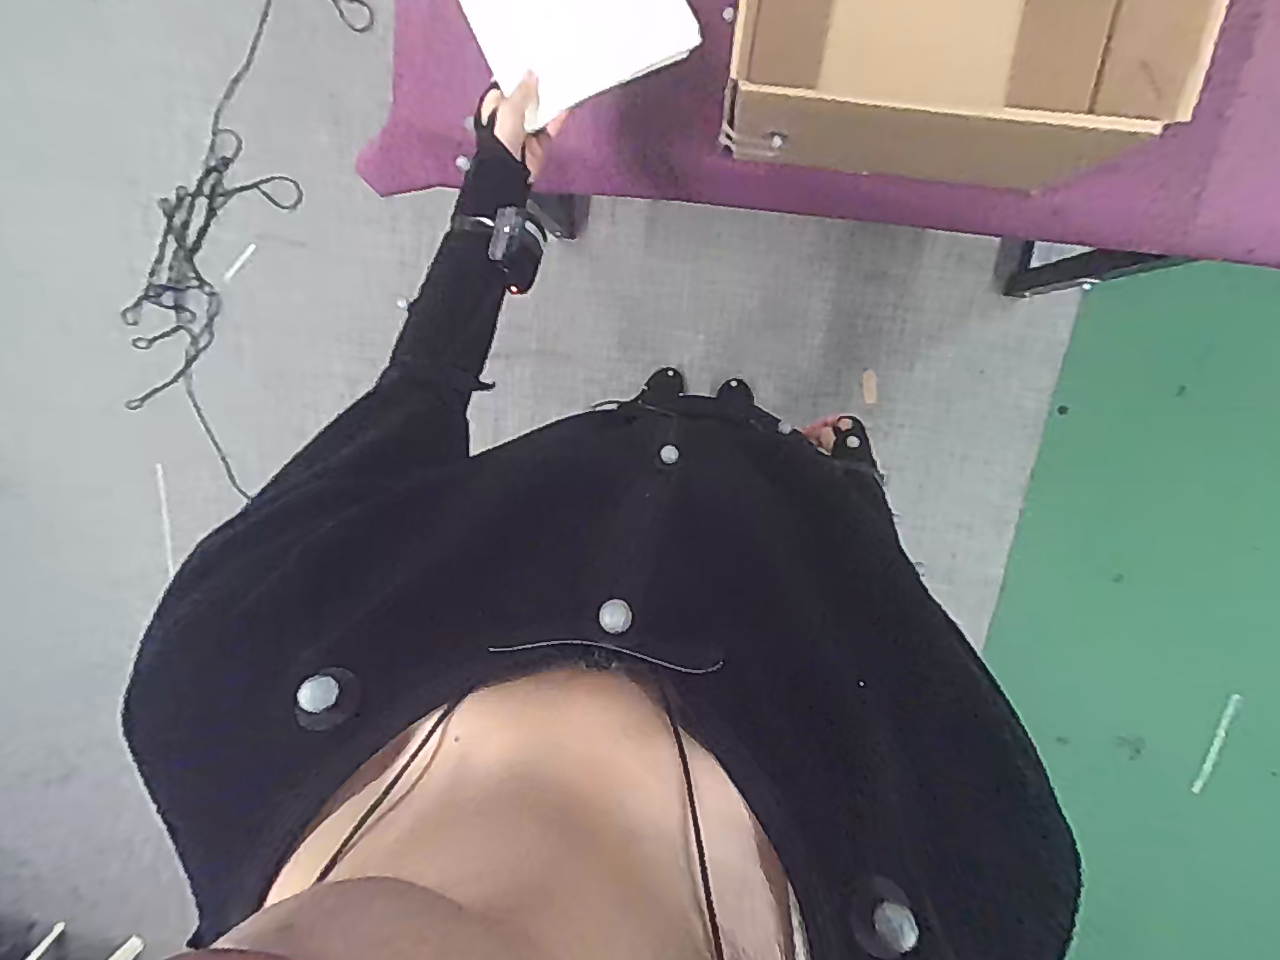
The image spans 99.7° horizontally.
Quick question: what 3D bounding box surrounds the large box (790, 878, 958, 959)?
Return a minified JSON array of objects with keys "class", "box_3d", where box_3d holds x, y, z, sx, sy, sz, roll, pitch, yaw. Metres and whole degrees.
[{"class":"large box","box_3d":[0.676,1.423,1.564,0.408,0.320,0.320,-7,101,7]}]
